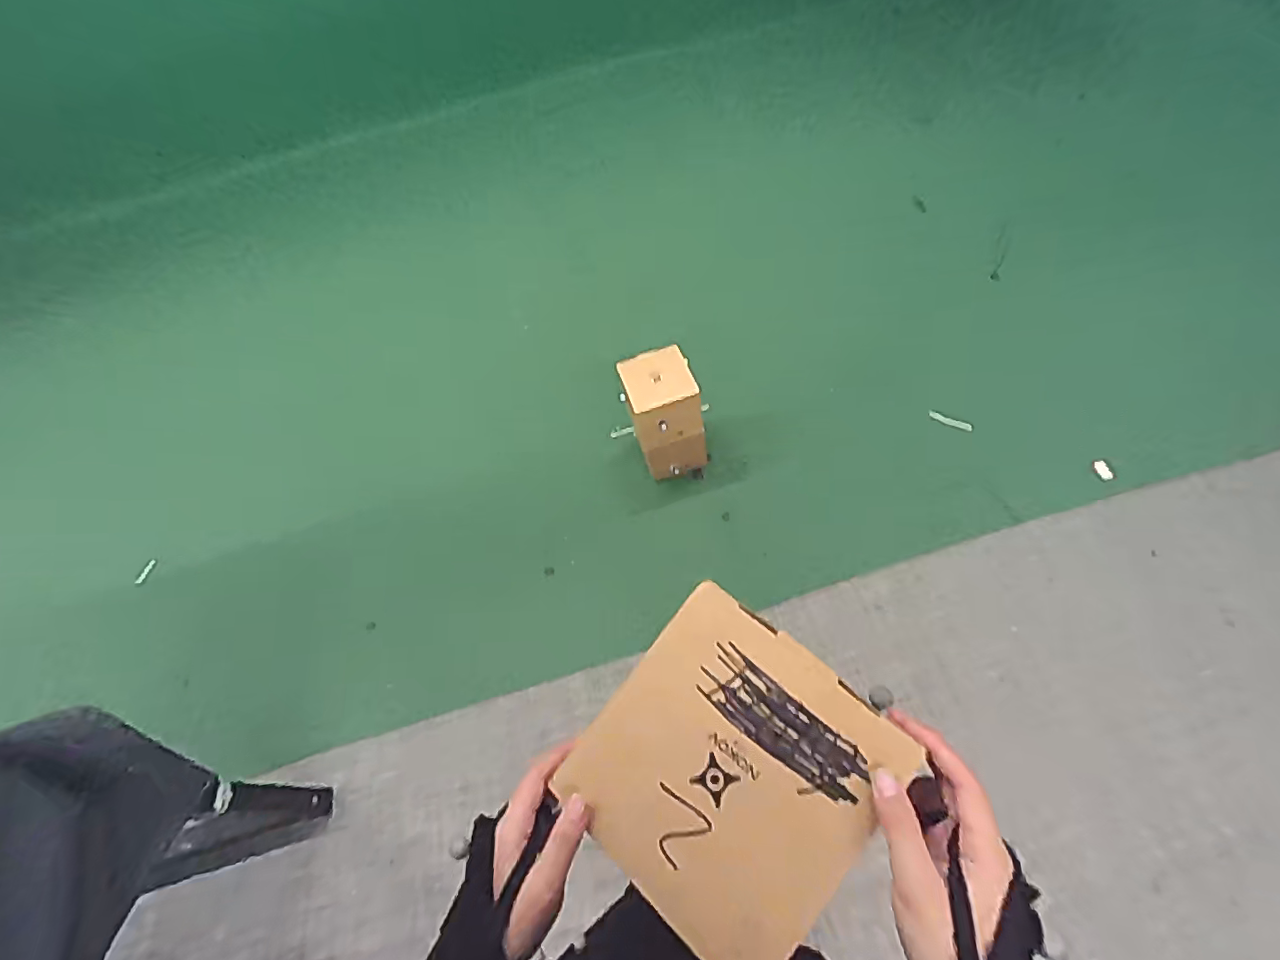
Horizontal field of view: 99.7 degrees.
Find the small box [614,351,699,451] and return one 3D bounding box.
[{"bbox_3d":[0.046,-0.195,1.395,0.168,0.176,0.179,-19,56,-3],"label":"small box"}]

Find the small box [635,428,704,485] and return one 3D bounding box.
[{"bbox_3d":[0.075,-0.115,1.534,0.168,0.176,0.179,-18,58,-2],"label":"small box"}]
